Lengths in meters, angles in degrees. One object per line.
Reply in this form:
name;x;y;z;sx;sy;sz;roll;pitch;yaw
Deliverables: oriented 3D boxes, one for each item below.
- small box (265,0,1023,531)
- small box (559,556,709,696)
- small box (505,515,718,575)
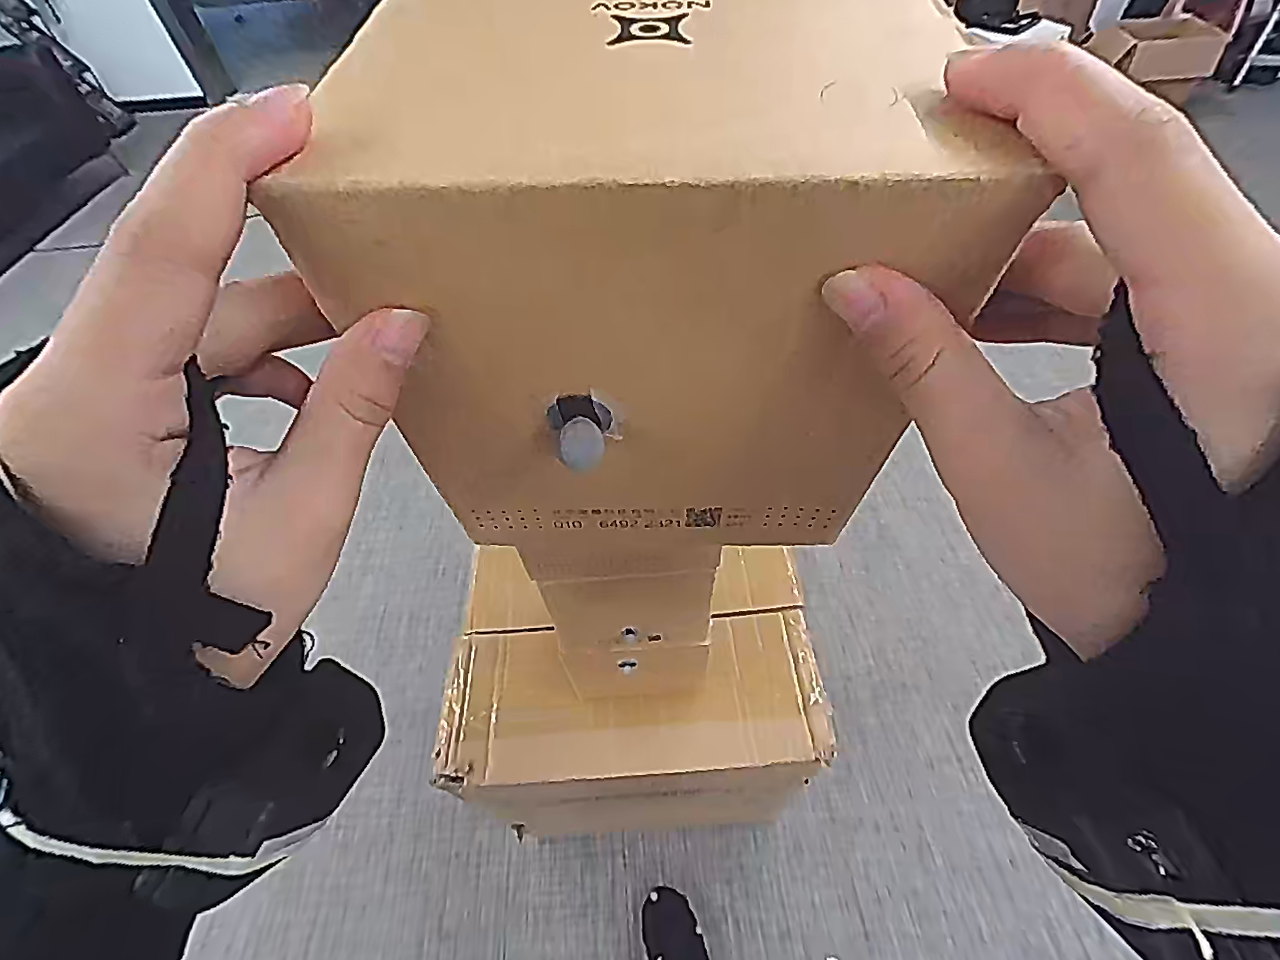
small box;0.003;-0.088;0.225;0.168;0.176;0.179;-1;56;2
small box;-0.005;0.181;0.728;0.179;0.176;0.168;-4;51;0
small box;-0.022;-0.030;0.476;0.179;0.176;0.168;-5;51;1
